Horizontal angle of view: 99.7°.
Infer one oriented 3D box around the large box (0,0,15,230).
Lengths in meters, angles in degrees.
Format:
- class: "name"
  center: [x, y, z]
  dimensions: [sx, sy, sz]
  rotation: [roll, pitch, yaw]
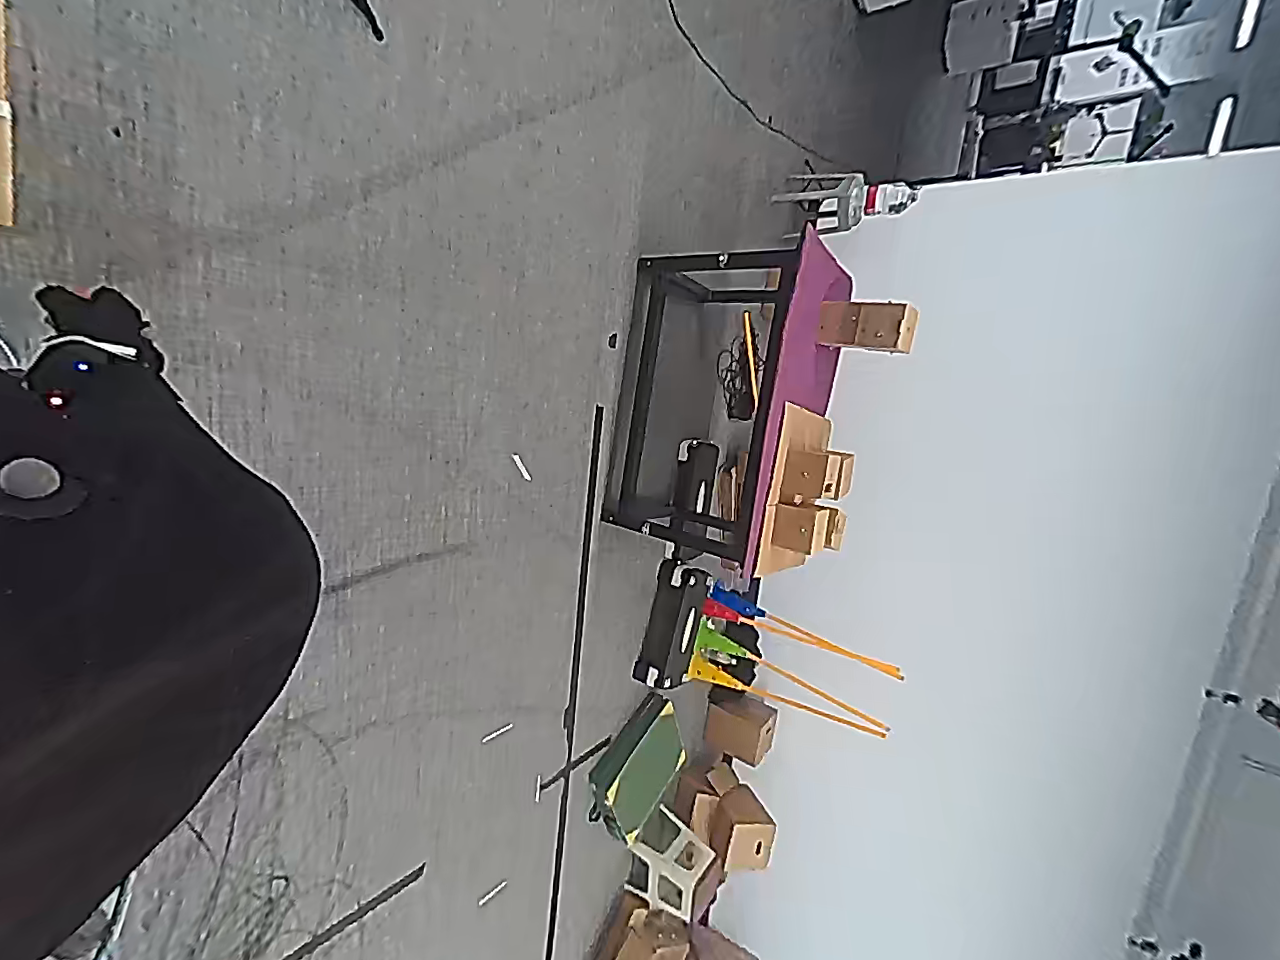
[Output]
- class: "large box"
  center: [-1.117, -0.527, 0.676]
  dimensions: [0.408, 0.320, 0.320]
  rotation: [-4, 104, -55]
